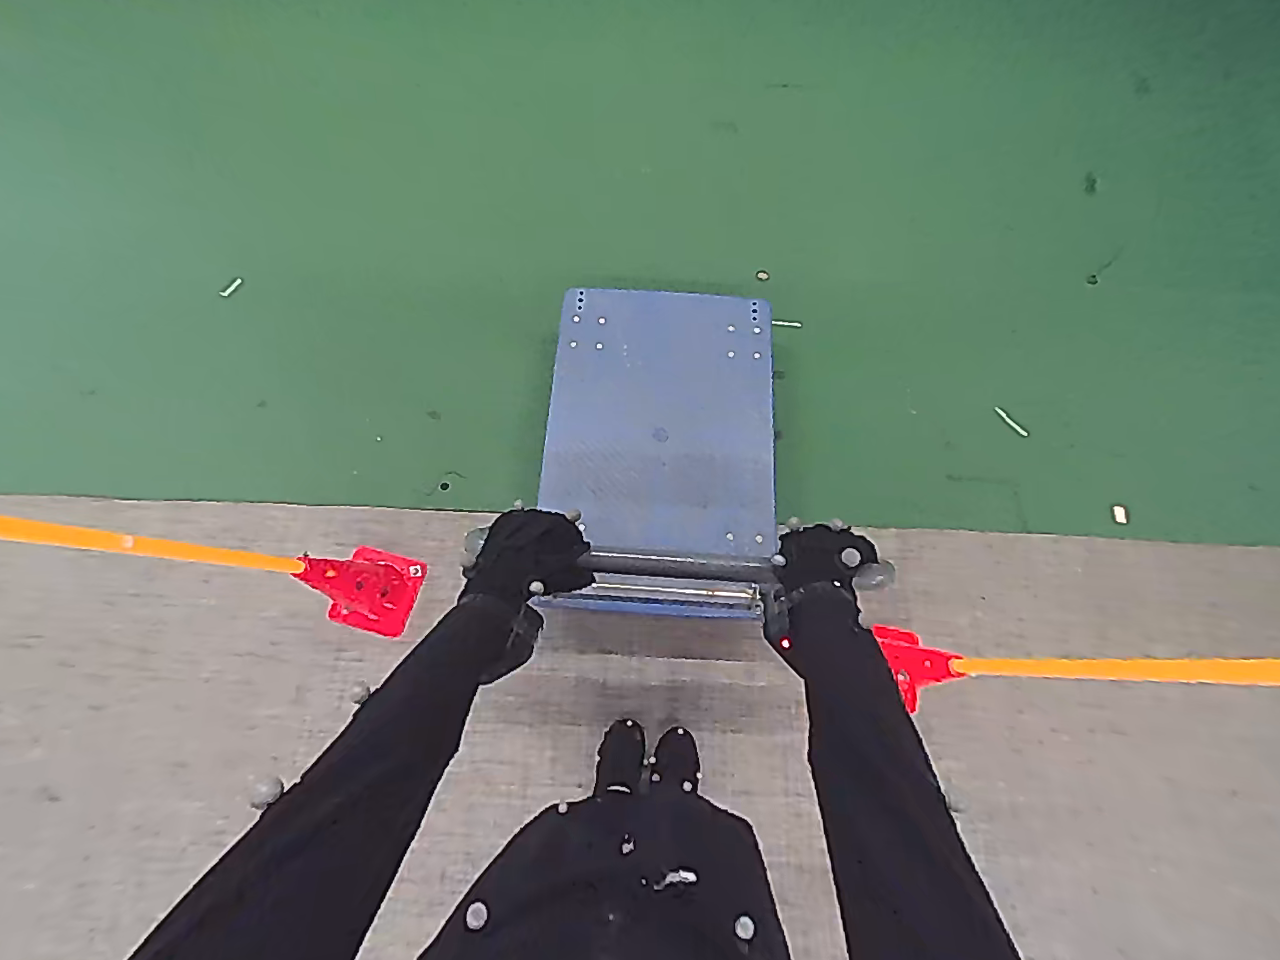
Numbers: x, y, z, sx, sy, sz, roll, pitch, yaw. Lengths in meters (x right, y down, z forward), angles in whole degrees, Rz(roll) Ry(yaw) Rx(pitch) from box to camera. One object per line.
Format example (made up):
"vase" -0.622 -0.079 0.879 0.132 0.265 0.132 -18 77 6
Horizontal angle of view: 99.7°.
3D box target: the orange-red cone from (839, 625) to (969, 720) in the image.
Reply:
"orange-red cone" 0.606 0.423 1.191 0.198 0.360 0.199 13 71 4
